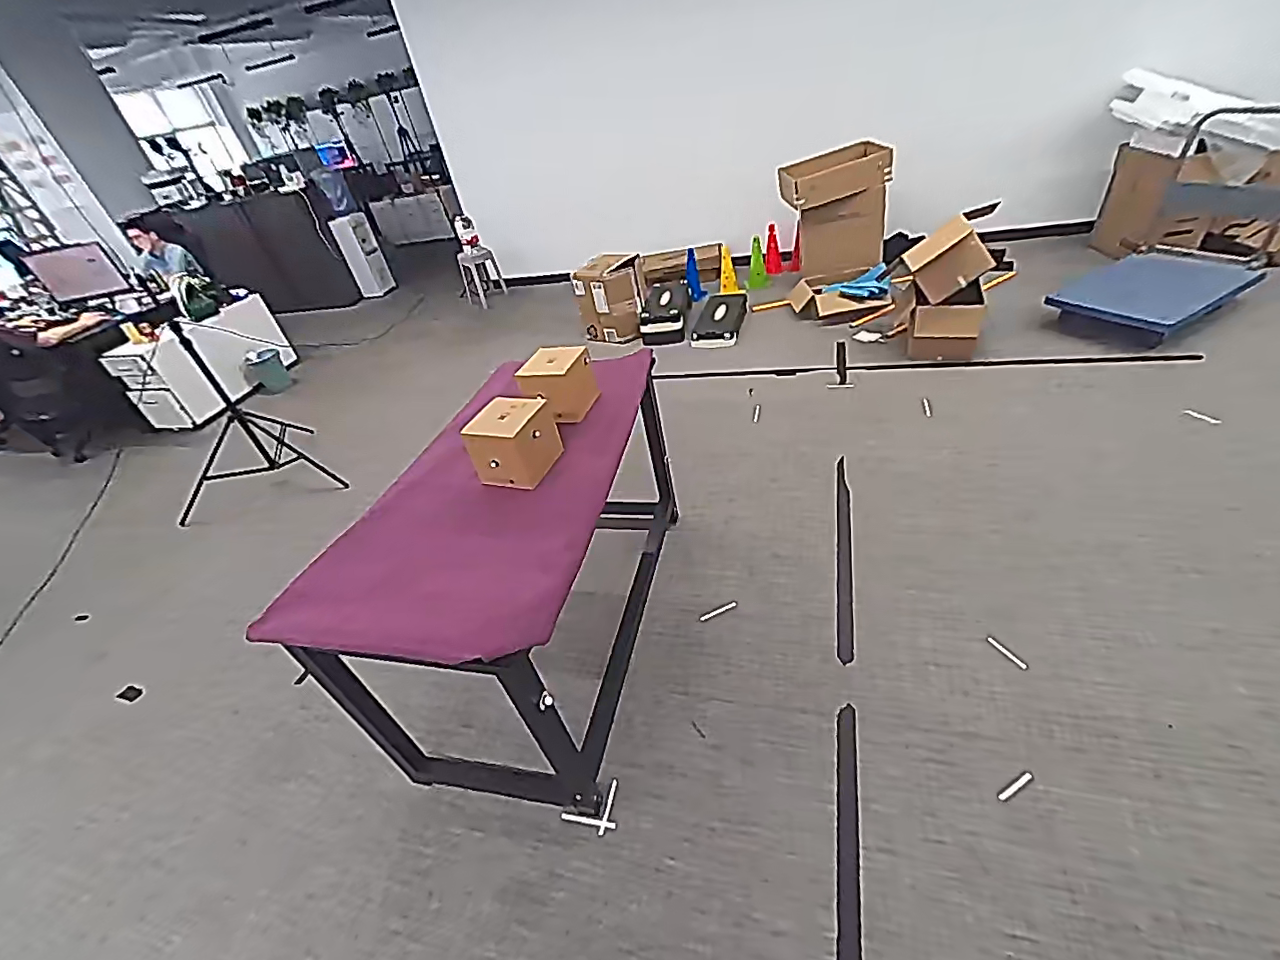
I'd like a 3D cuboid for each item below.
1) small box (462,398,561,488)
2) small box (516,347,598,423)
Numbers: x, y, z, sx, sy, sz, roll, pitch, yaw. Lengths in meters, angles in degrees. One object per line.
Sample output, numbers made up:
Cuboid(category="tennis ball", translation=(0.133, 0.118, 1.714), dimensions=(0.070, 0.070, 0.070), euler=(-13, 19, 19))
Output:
Cuboid(category="small box", translation=(-0.328, -0.098, 1.423), dimensions=(0.168, 0.176, 0.179), euler=(7, 41, 23))
Cuboid(category="small box", translation=(-0.242, -0.285, 1.641), dimensions=(0.168, 0.176, 0.179), euler=(2, 39, 21))
